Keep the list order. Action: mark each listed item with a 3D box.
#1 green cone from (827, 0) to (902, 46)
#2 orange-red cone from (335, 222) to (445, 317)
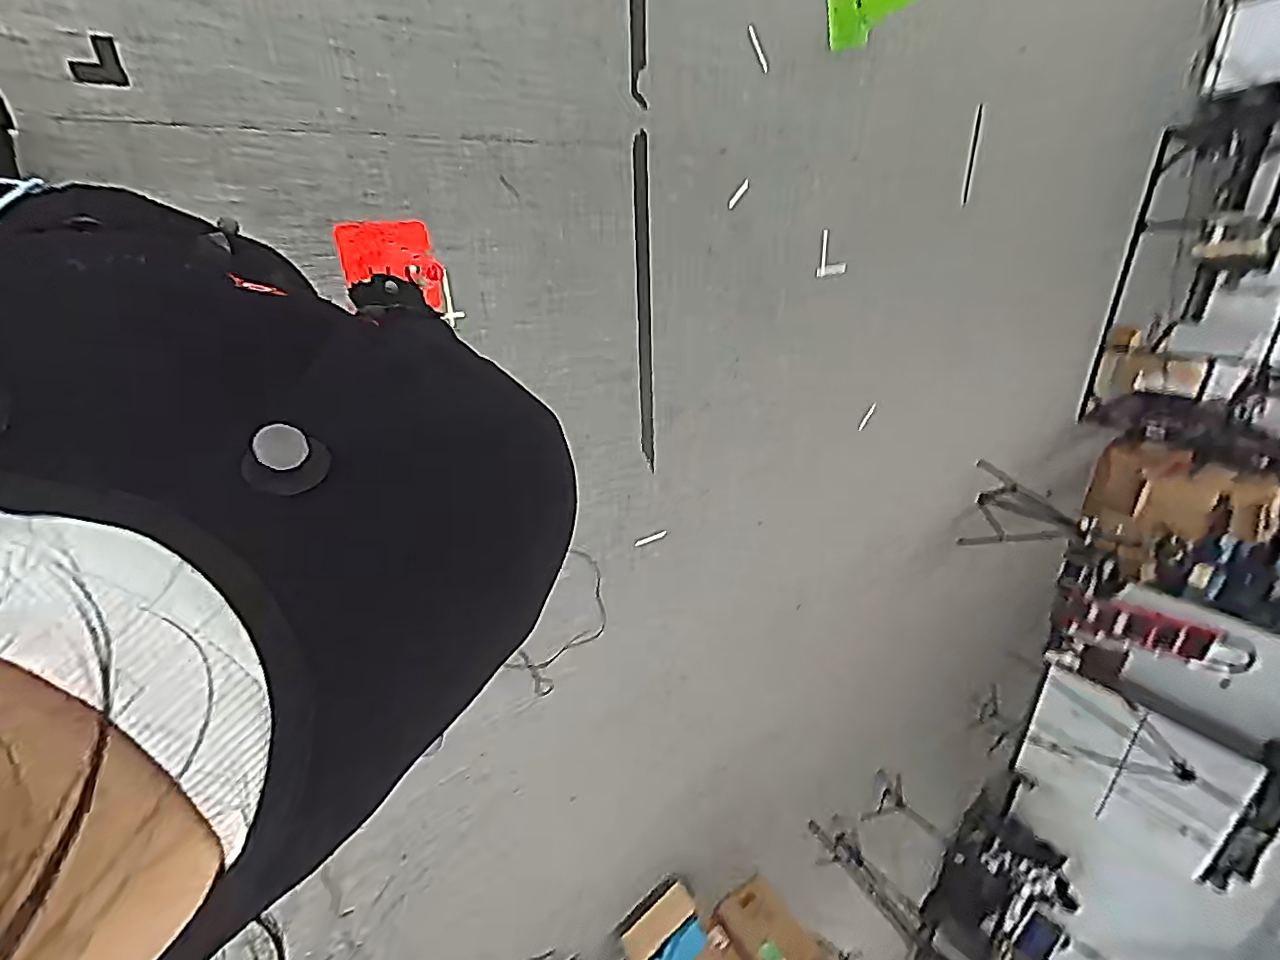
[{"bbox_3d":[0.774,-1.499,1.635,0.200,0.368,0.202,-33,126,-22],"label":"green cone"},{"bbox_3d":[-0.478,-0.435,1.116,0.198,0.360,0.199,-19,117,-31],"label":"orange-red cone"}]
